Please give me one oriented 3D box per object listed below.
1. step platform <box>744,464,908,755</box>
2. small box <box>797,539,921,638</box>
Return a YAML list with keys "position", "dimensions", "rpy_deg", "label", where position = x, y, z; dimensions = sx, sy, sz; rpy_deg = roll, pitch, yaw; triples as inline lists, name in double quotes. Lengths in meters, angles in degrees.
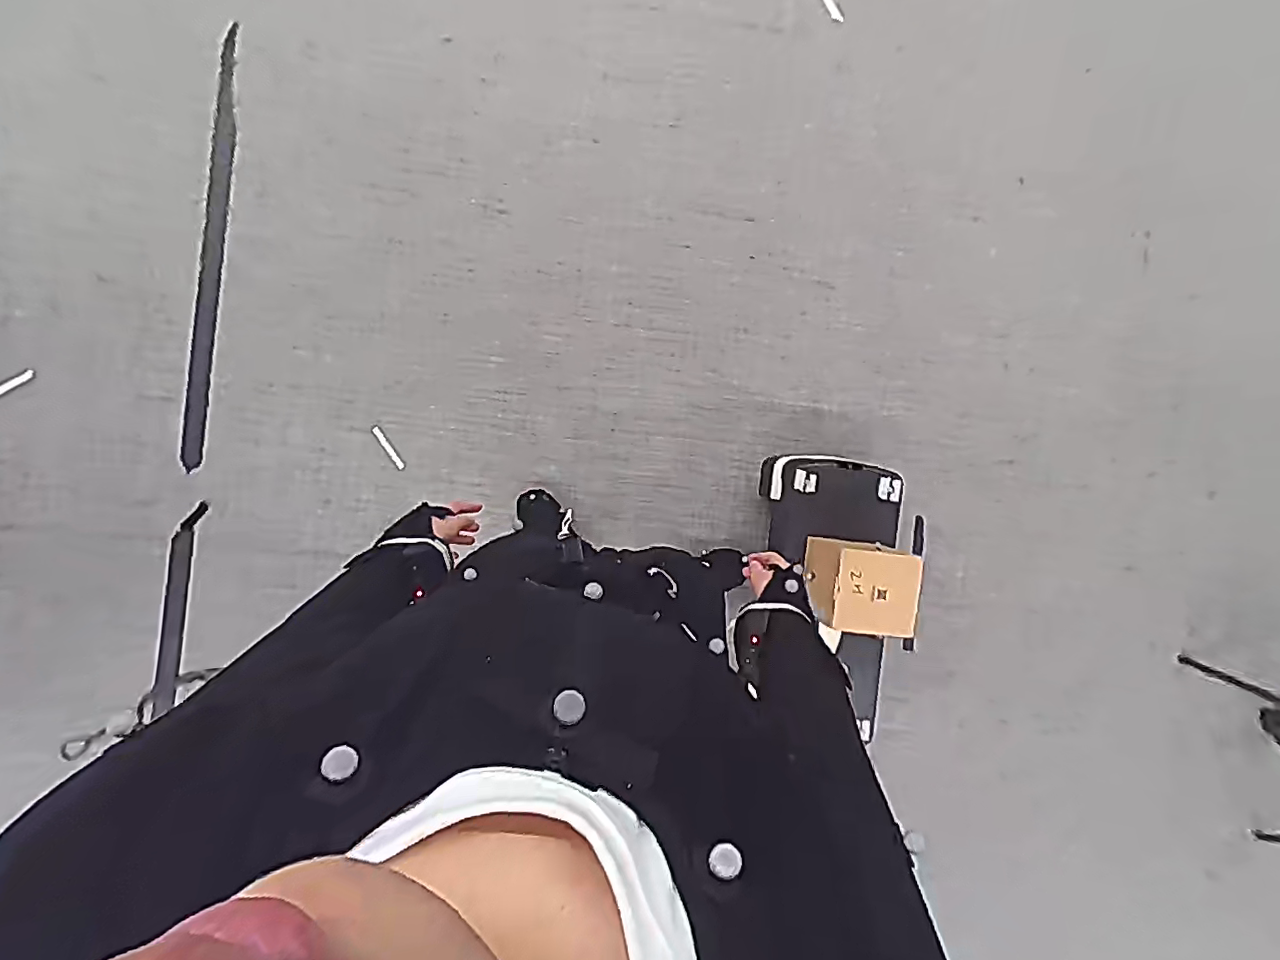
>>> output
- position: [0.451, 0.305, 1.329]
  dimensions: [0.286, 0.204, 0.684]
  rpy_deg: [6, 90, -6]
  label: "step platform"
- position: [0.459, 0.224, 1.154]
  dimensions: [0.179, 0.176, 0.168]
  rpy_deg: [8, 90, -5]
  label: "small box"
